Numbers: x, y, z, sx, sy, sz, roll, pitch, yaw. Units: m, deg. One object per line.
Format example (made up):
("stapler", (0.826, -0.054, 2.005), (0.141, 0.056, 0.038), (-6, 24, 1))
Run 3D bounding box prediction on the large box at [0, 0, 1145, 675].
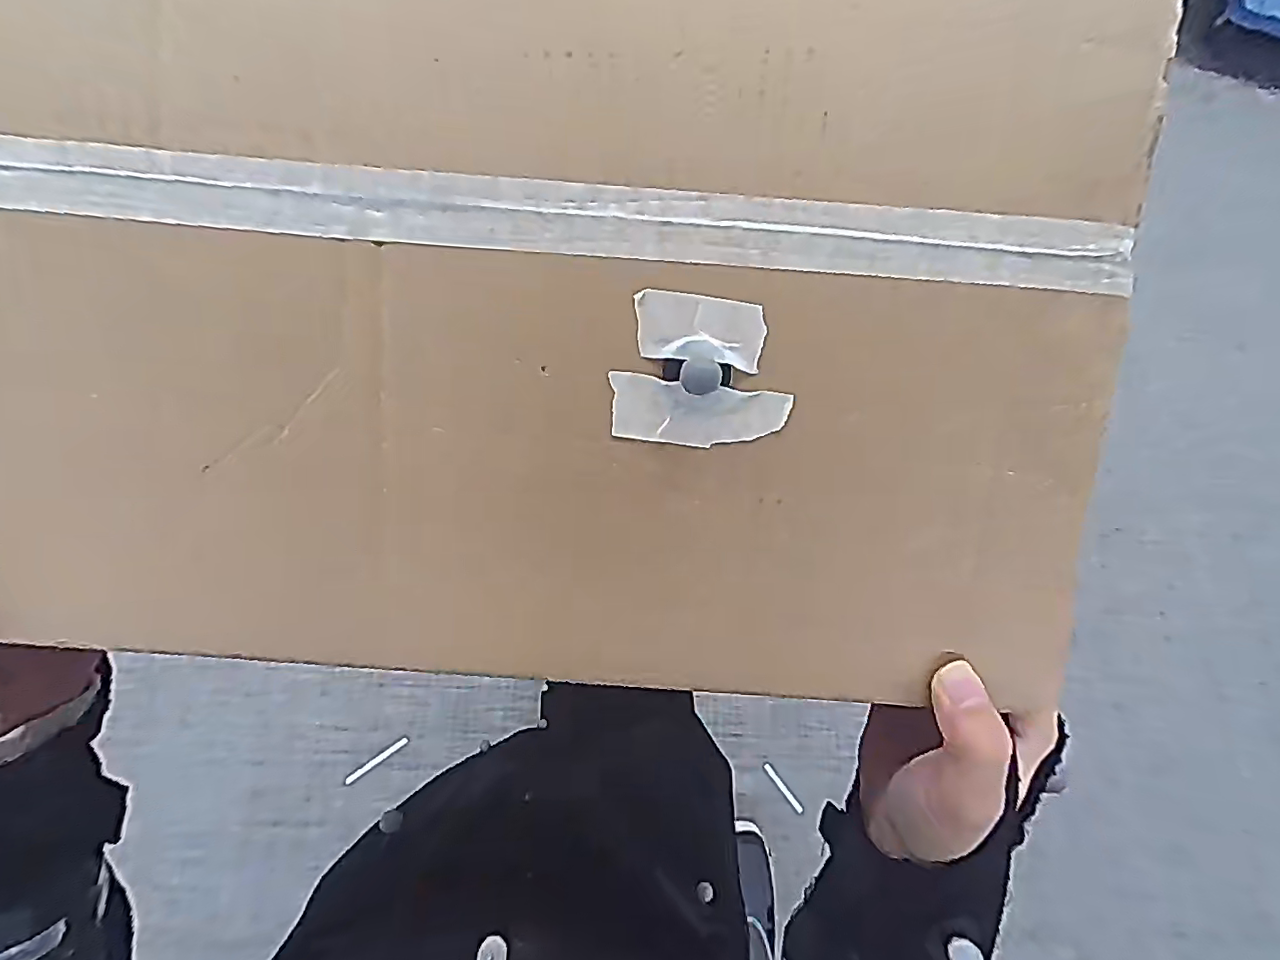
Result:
("large box", (-0.043, -0.104, 0.333), (0.408, 0.320, 0.320), (4, 98, -2))
